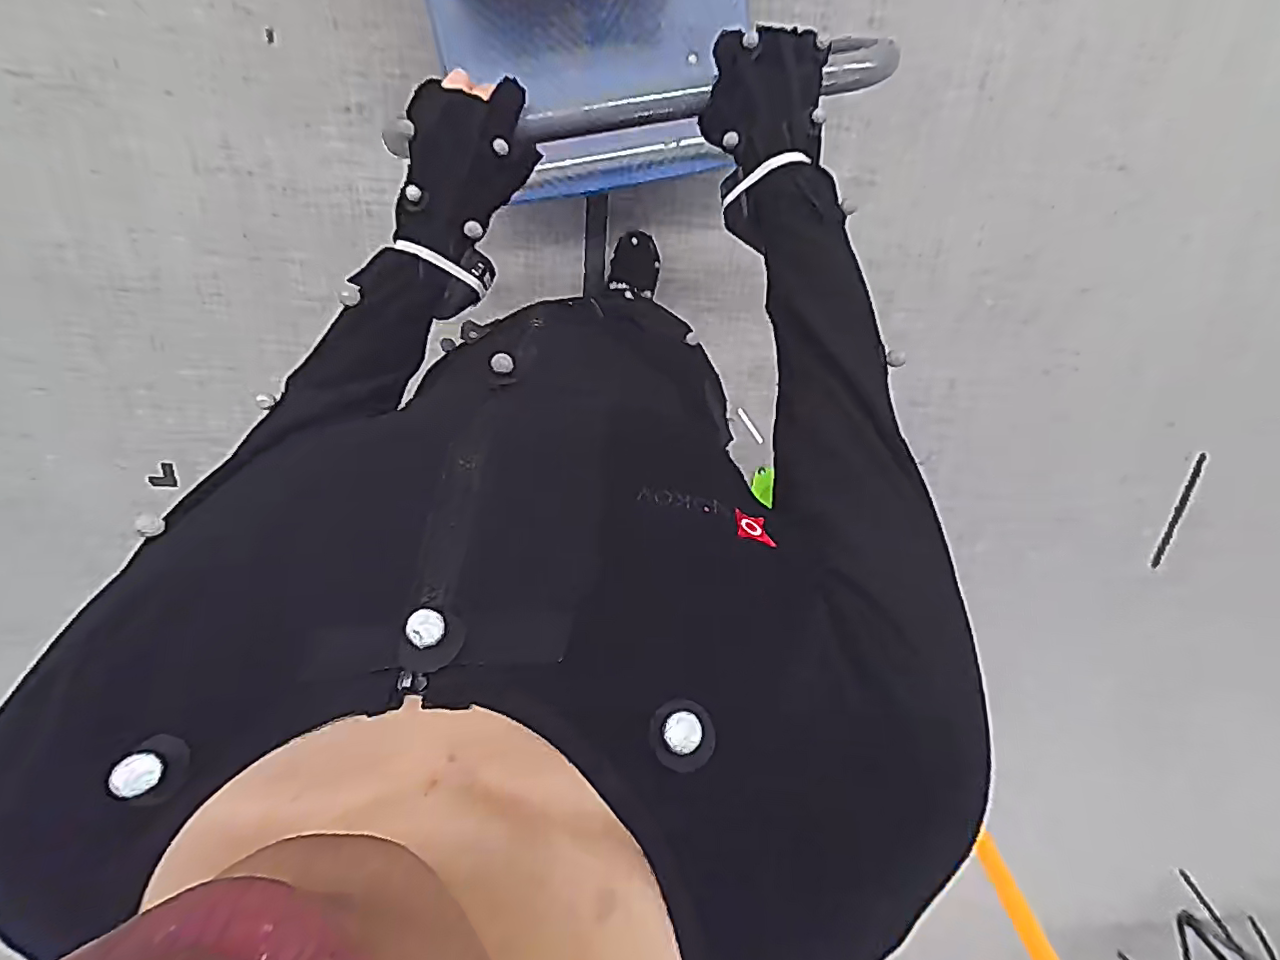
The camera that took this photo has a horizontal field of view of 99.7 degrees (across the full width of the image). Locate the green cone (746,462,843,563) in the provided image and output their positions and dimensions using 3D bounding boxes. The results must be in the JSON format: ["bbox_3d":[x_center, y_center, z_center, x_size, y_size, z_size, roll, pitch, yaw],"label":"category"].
[{"bbox_3d":[0.431,0.112,1.415,0.202,0.368,0.200,5,112,-7],"label":"green cone"}]
